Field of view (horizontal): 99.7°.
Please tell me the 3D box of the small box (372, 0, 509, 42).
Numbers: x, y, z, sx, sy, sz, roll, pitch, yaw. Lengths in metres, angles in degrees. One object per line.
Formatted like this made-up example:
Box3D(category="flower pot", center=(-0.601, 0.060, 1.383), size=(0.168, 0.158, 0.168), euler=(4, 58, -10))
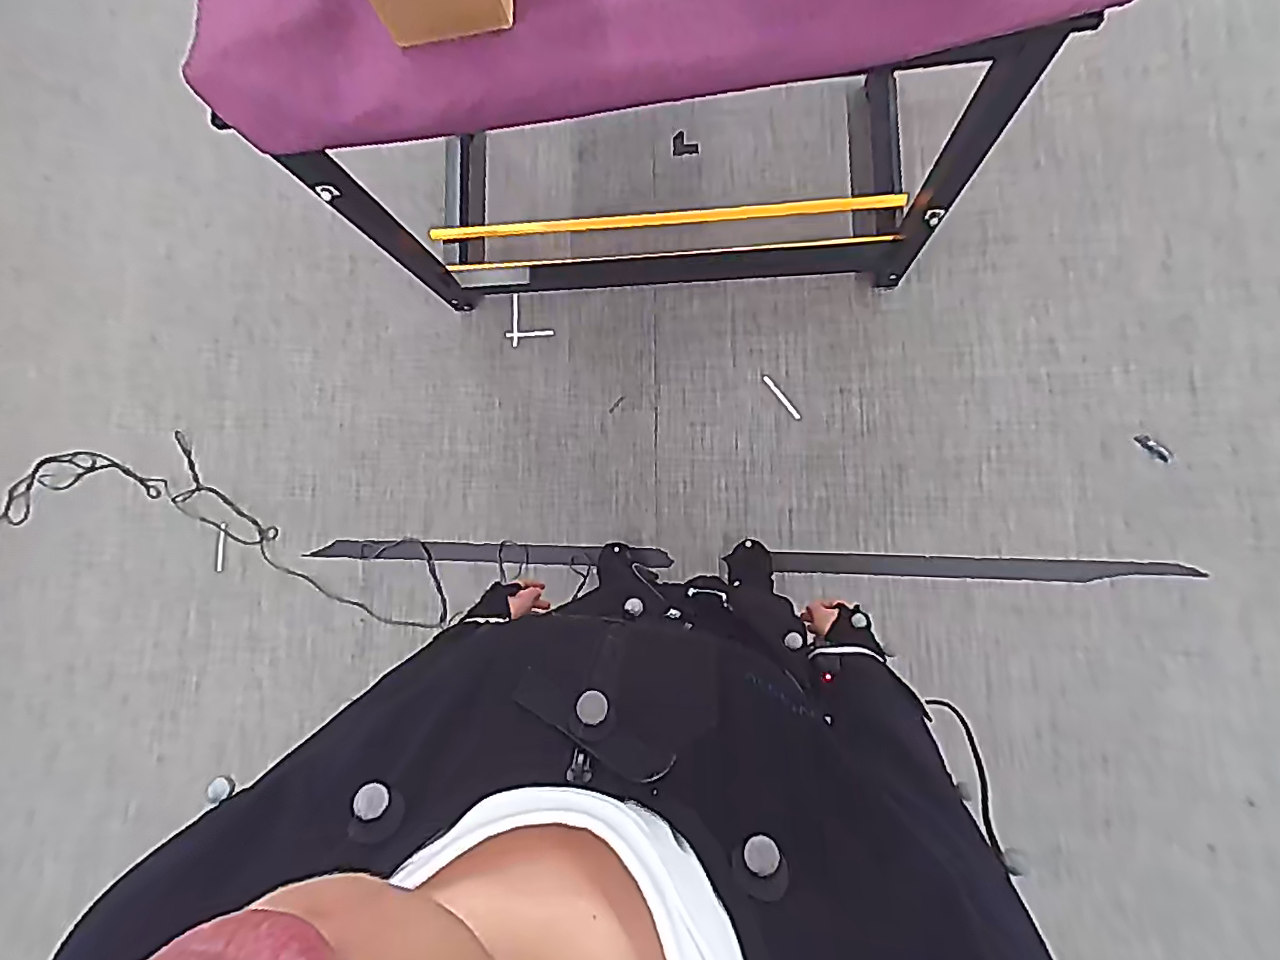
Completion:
Box3D(category="small box", center=(-0.272, -0.713, 0.691), size=(0.179, 0.176, 0.168), euler=(-2, 84, 8))
